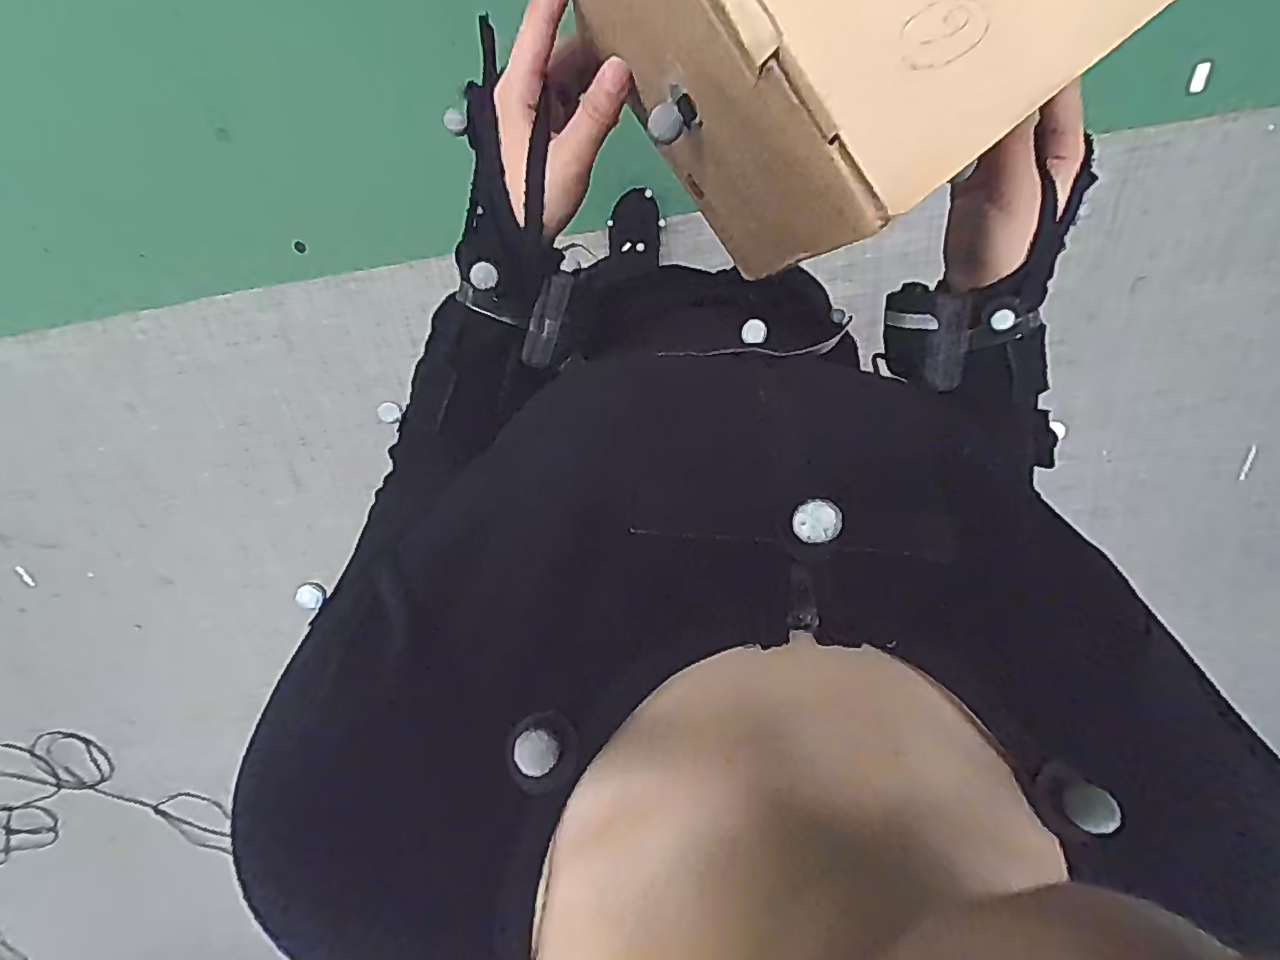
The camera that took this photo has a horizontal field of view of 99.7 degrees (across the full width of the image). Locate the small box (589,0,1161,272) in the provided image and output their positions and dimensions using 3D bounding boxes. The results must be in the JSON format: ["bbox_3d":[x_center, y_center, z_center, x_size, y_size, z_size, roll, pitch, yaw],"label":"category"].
[{"bbox_3d":[0.086,-0.209,0.217,0.179,0.176,0.168,-37,103,7],"label":"small box"}]
